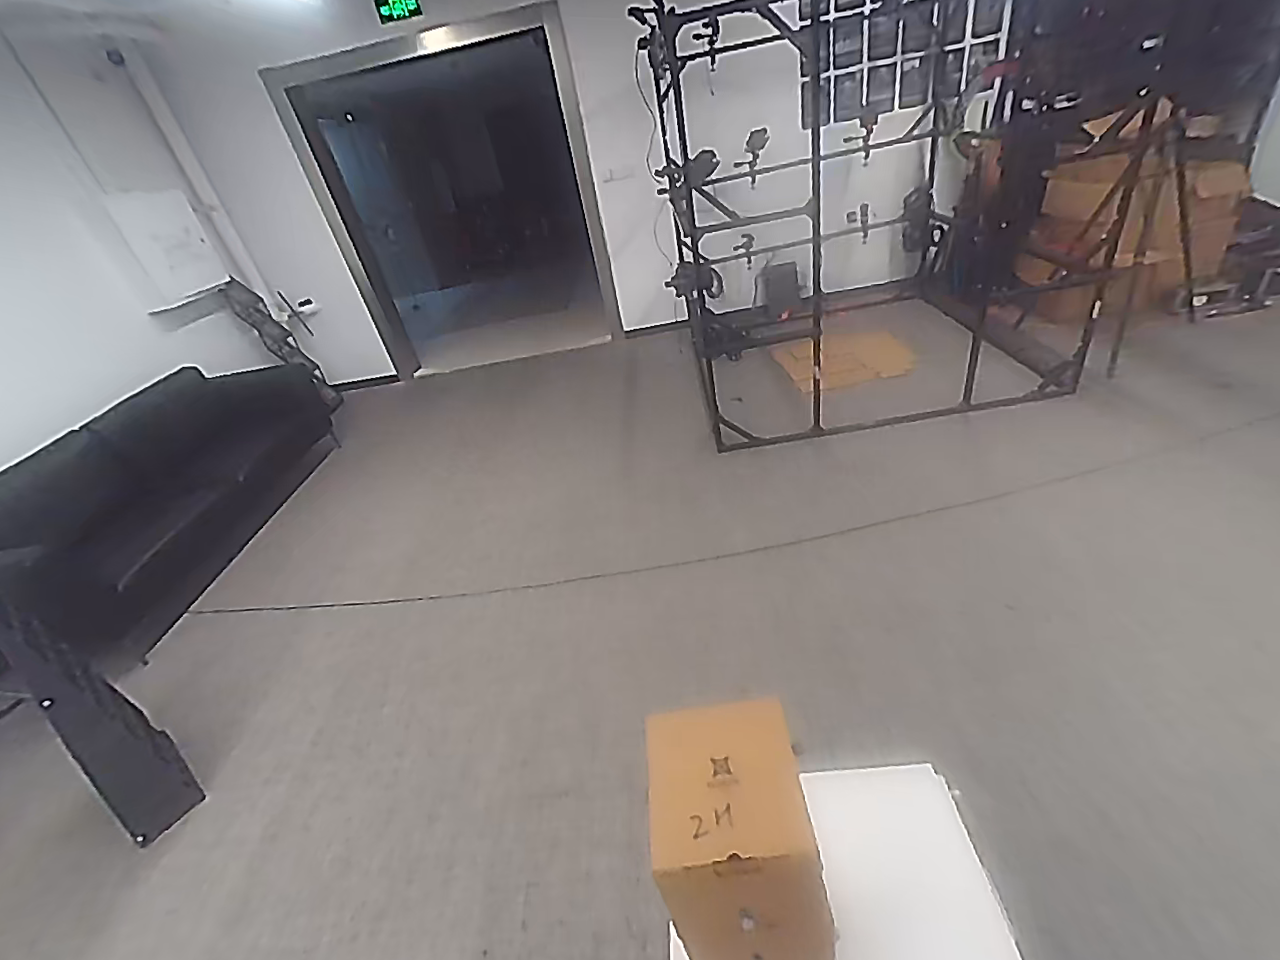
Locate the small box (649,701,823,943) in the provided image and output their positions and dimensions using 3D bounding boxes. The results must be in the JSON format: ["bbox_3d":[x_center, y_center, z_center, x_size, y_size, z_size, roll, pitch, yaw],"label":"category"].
[{"bbox_3d":[0.106,0.393,0.630,0.168,0.176,0.179,-11,31,5],"label":"small box"}]

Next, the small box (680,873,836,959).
[{"bbox_3d":[0.145,0.531,0.710,0.179,0.176,0.168,-11,31,5],"label":"small box"}]
